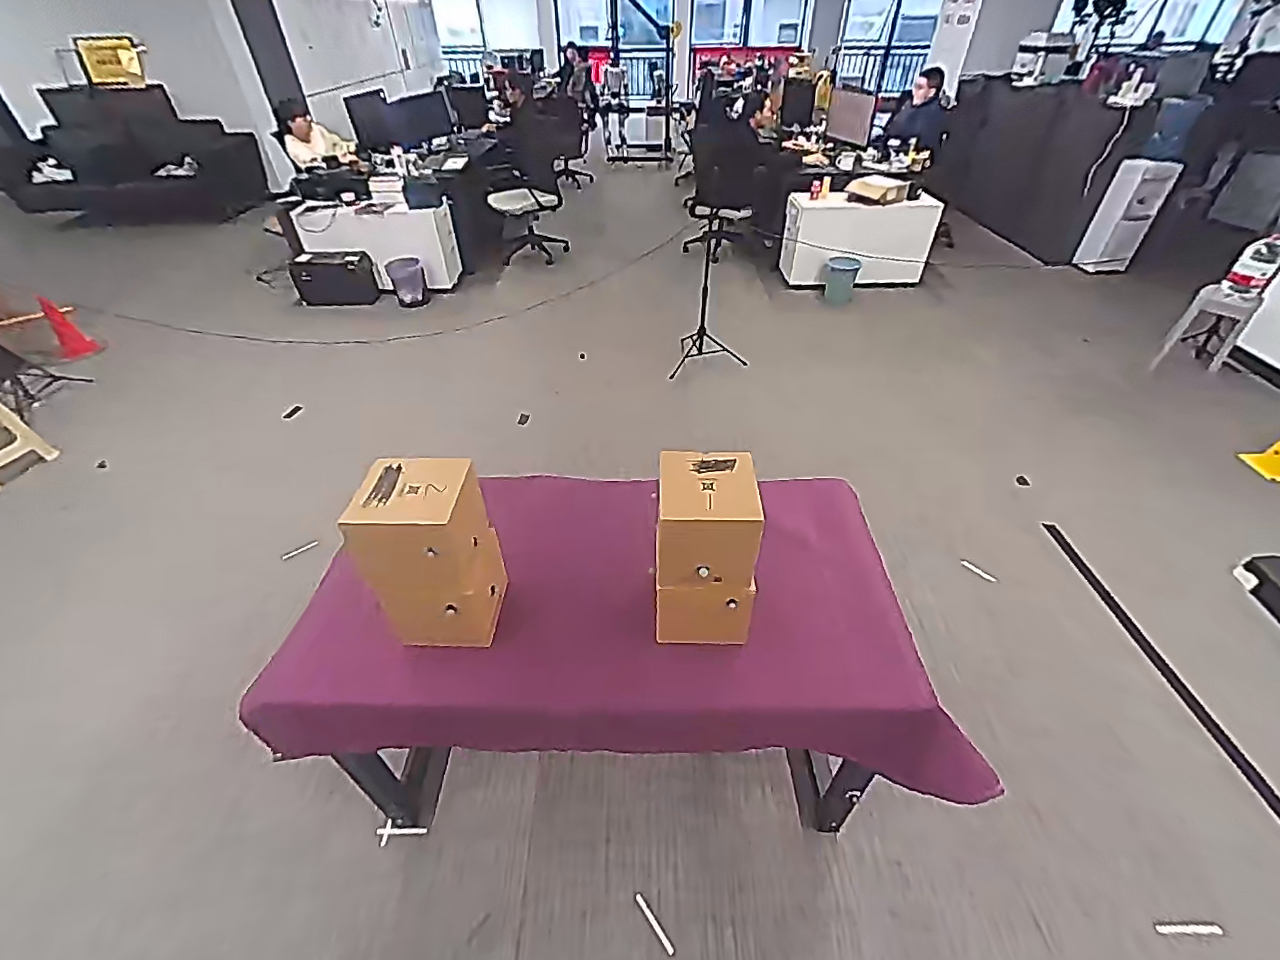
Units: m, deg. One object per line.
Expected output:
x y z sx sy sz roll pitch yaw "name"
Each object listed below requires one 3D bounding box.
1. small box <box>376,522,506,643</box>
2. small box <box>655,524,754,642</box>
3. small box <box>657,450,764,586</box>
-0.371 0.200 1.051 0.179 0.176 0.168 1 41 2 "small box"
0.117 0.198 1.053 0.179 0.176 0.168 1 40 1 "small box"
0.115 0.066 0.954 0.168 0.176 0.179 1 41 2 "small box"
